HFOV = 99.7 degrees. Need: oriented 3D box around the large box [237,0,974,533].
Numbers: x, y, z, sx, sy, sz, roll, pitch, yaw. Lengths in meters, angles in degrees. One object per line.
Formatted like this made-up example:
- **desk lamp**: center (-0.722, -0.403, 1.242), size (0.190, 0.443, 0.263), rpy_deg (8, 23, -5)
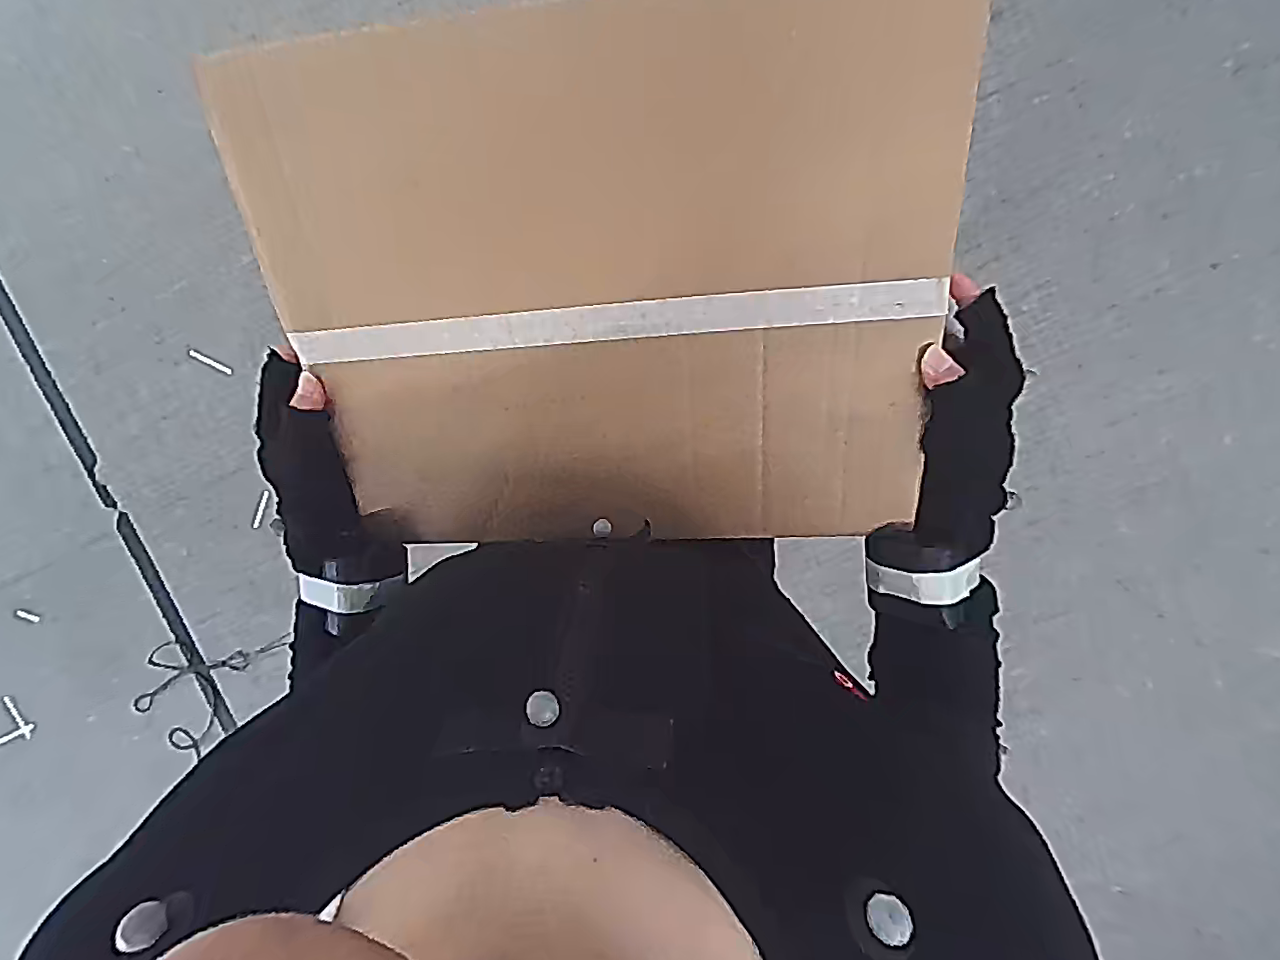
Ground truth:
- **large box**: center (-0.009, -0.168, 0.478), size (0.408, 0.320, 0.320), rpy_deg (-2, 118, 8)
